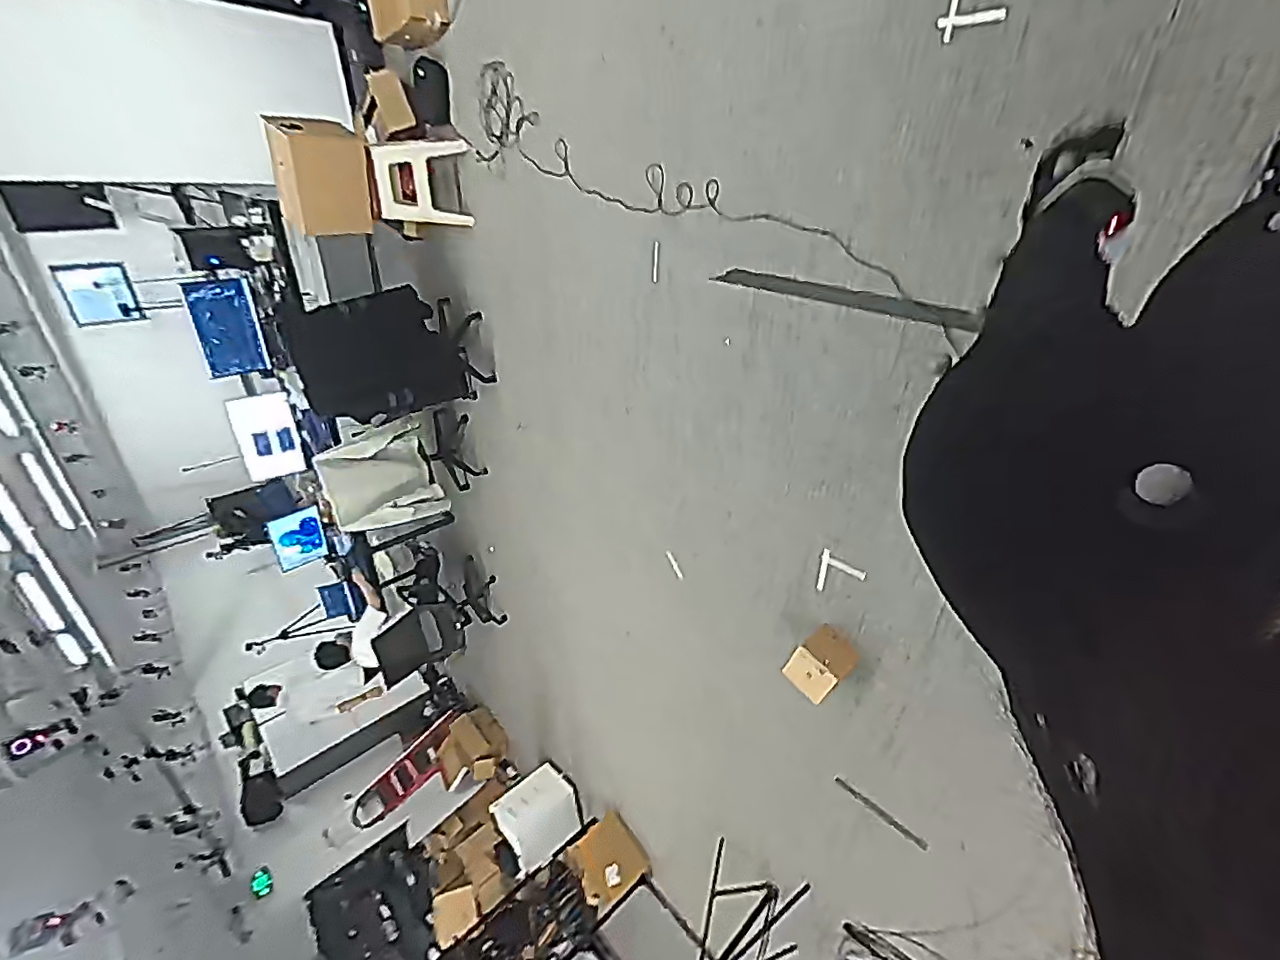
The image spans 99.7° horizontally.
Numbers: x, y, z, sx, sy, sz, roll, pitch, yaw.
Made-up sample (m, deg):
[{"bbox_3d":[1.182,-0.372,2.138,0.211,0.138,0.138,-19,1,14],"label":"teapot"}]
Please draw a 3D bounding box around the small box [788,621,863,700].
[{"bbox_3d":[0.672,0.649,1.951,0.168,0.176,0.179,41,137,28],"label":"small box"}]
